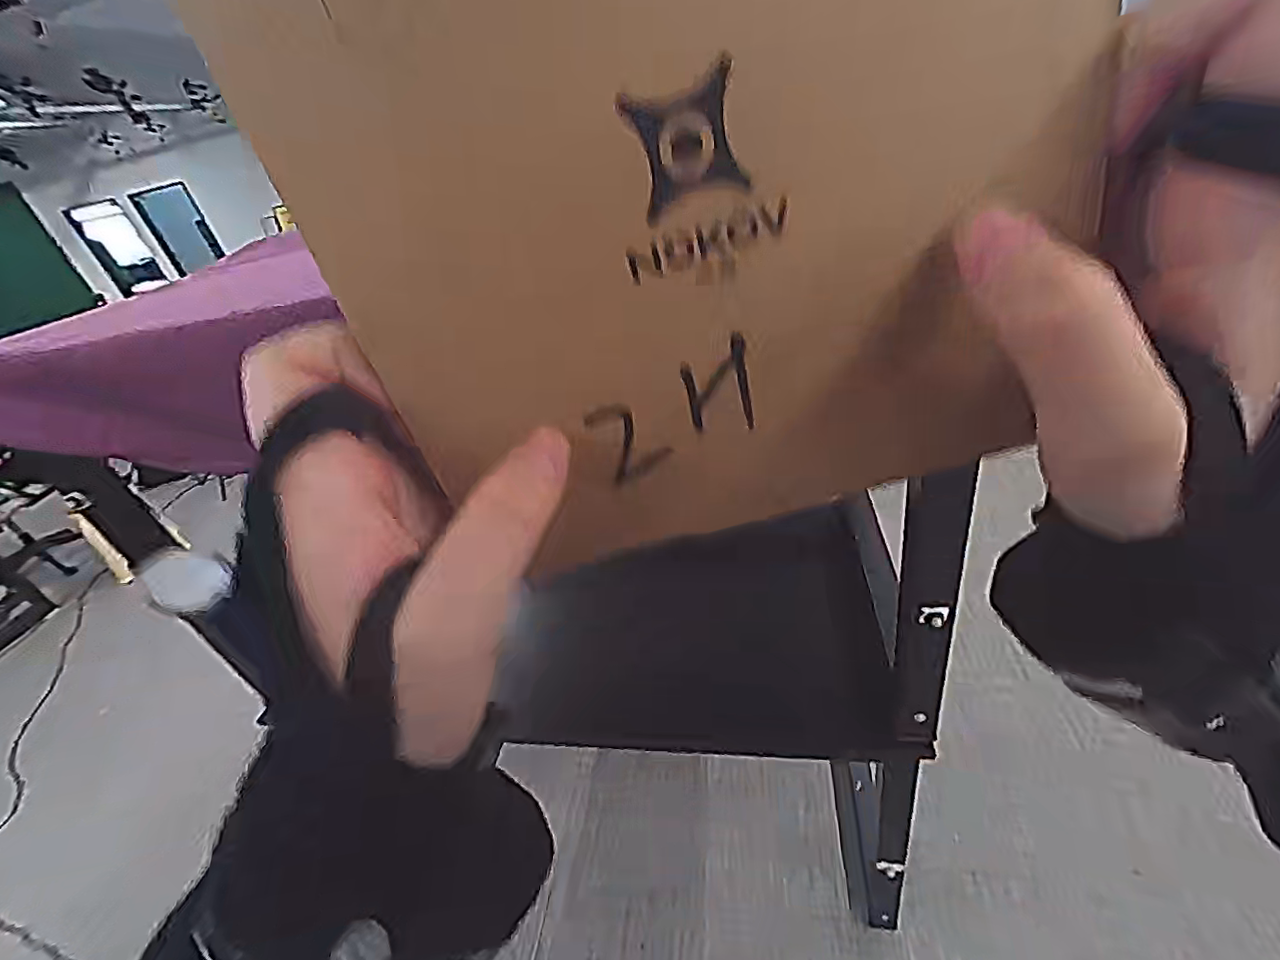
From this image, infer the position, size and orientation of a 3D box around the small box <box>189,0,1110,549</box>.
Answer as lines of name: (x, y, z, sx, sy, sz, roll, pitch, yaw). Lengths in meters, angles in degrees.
small box: (0.007, -0.110, 0.180, 0.168, 0.179, 0.176, -15, 28, 8)
